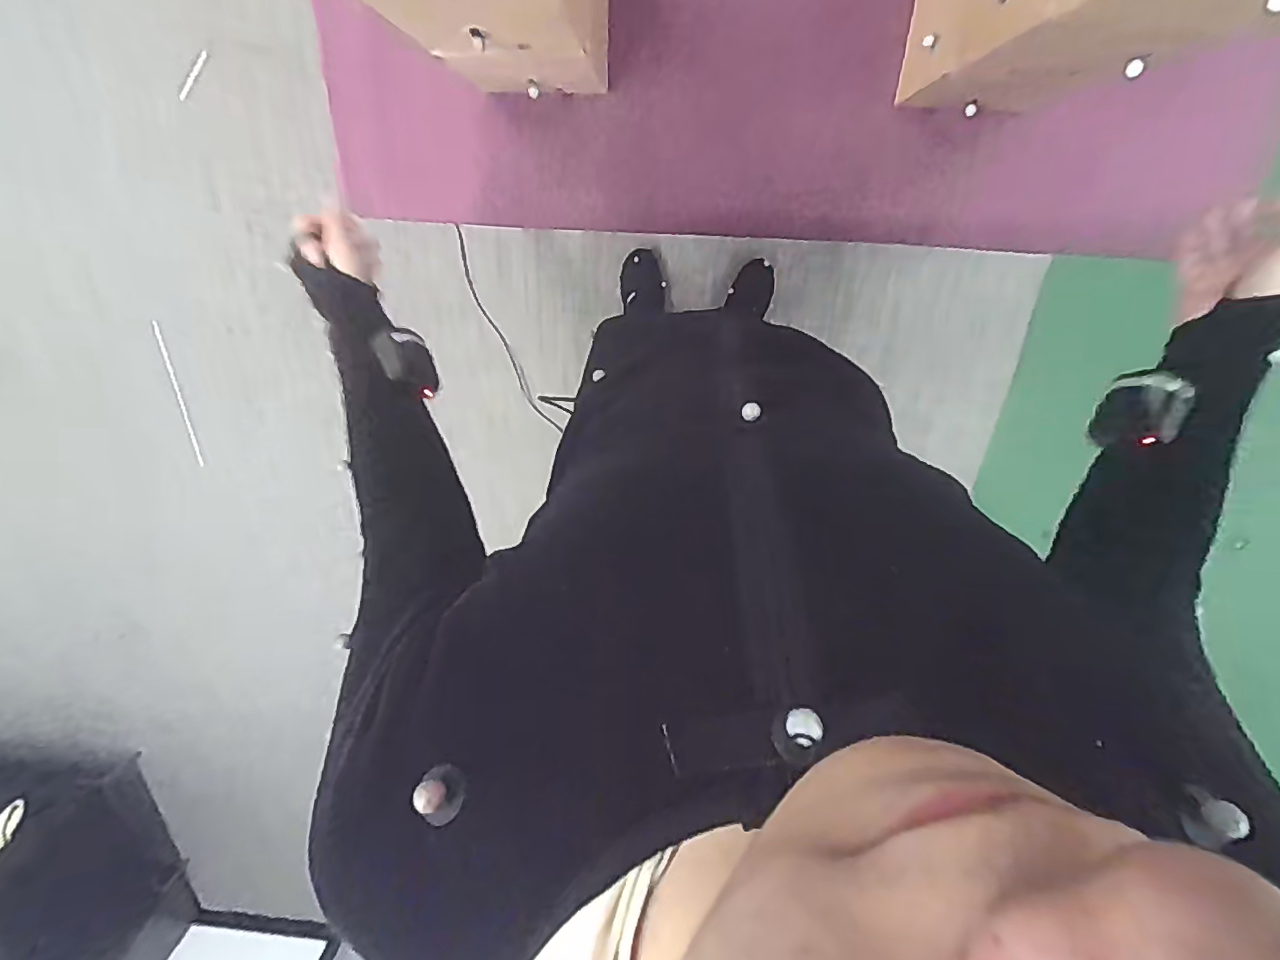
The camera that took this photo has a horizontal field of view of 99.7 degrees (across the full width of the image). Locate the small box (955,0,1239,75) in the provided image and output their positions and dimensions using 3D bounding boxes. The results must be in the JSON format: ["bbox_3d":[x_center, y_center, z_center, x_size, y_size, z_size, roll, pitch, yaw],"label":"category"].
[{"bbox_3d":[0.377,-0.439,0.420,0.168,0.176,0.179,4,114,4],"label":"small box"}]

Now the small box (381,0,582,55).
[{"bbox_3d":[-0.144,-0.489,0.451,0.168,0.176,0.179,3,115,4],"label":"small box"}]

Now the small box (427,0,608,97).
[{"bbox_3d":[-0.130,-0.554,0.600,0.168,0.176,0.179,4,114,4],"label":"small box"}]
